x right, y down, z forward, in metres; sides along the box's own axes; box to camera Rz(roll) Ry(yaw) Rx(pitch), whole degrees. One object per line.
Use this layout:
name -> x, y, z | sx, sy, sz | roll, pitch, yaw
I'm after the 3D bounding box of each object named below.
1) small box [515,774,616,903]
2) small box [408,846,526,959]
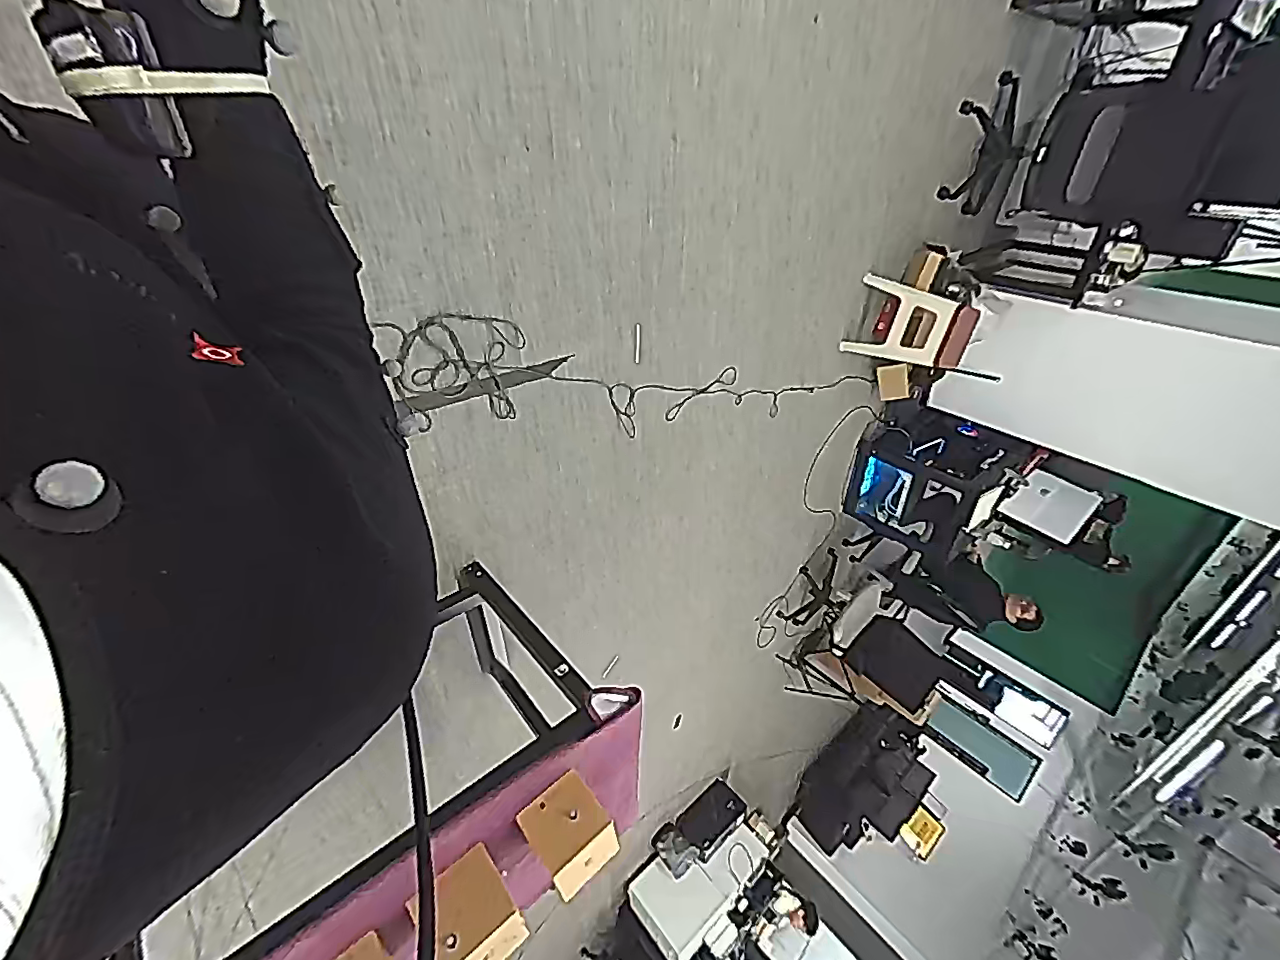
small box -> -0.178, 0.844, 1.290 | 0.168, 0.176, 0.179 | -31, 135, -29
small box -> -0.371, 0.939, 1.150 | 0.179, 0.176, 0.168 | -28, 134, -31
